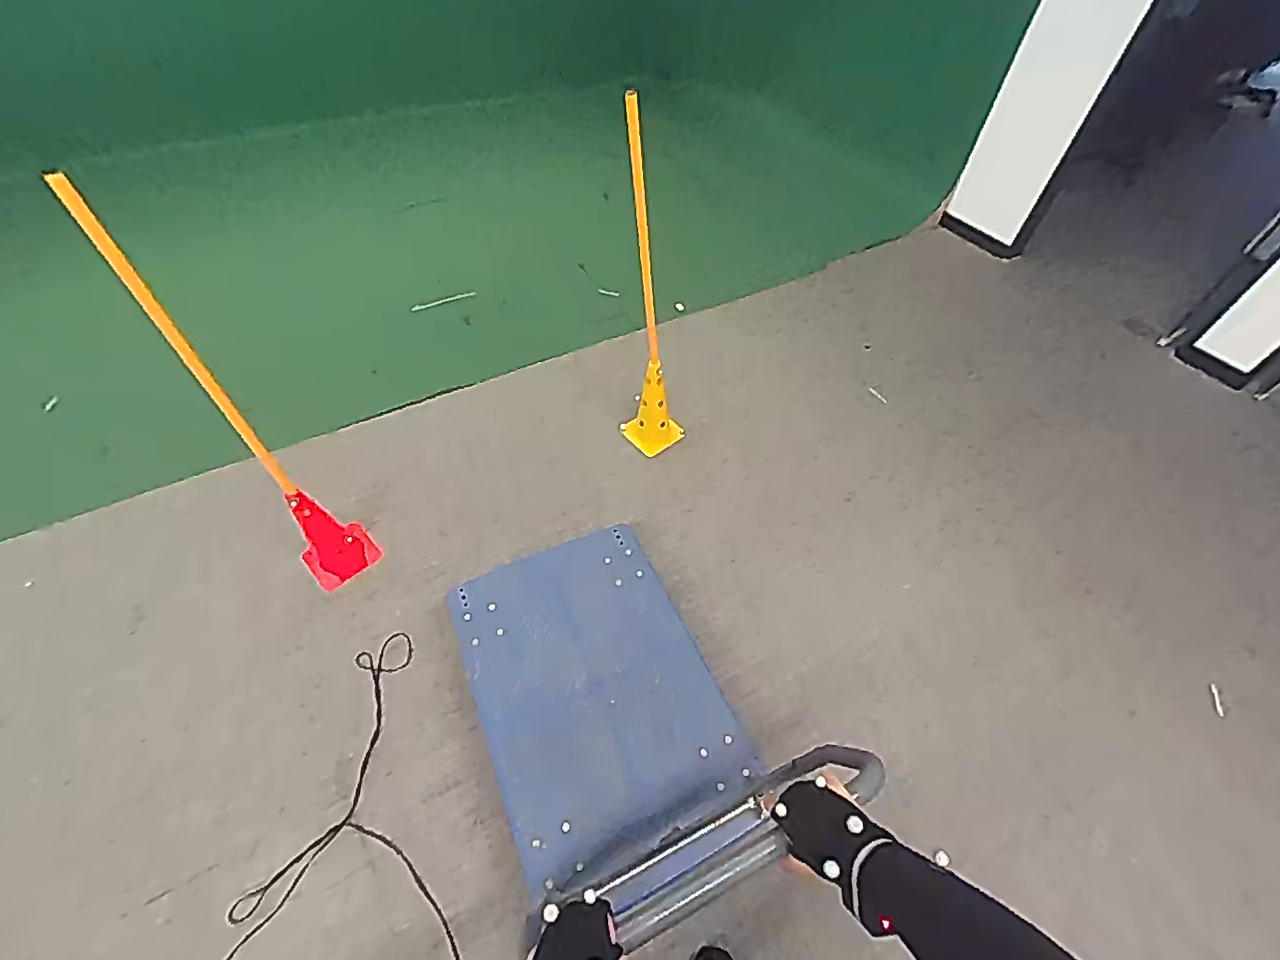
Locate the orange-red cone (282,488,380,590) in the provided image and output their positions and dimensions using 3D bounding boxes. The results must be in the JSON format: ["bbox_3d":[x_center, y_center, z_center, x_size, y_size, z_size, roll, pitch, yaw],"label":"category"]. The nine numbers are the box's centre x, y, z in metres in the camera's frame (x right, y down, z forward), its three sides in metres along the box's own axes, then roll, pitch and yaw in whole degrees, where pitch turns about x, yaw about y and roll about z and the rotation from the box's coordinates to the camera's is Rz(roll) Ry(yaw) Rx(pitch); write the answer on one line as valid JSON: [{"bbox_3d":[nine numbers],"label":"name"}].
[{"bbox_3d":[-0.985,0.146,1.649,0.199,0.360,0.198,-37,61,-25],"label":"orange-red cone"}]
